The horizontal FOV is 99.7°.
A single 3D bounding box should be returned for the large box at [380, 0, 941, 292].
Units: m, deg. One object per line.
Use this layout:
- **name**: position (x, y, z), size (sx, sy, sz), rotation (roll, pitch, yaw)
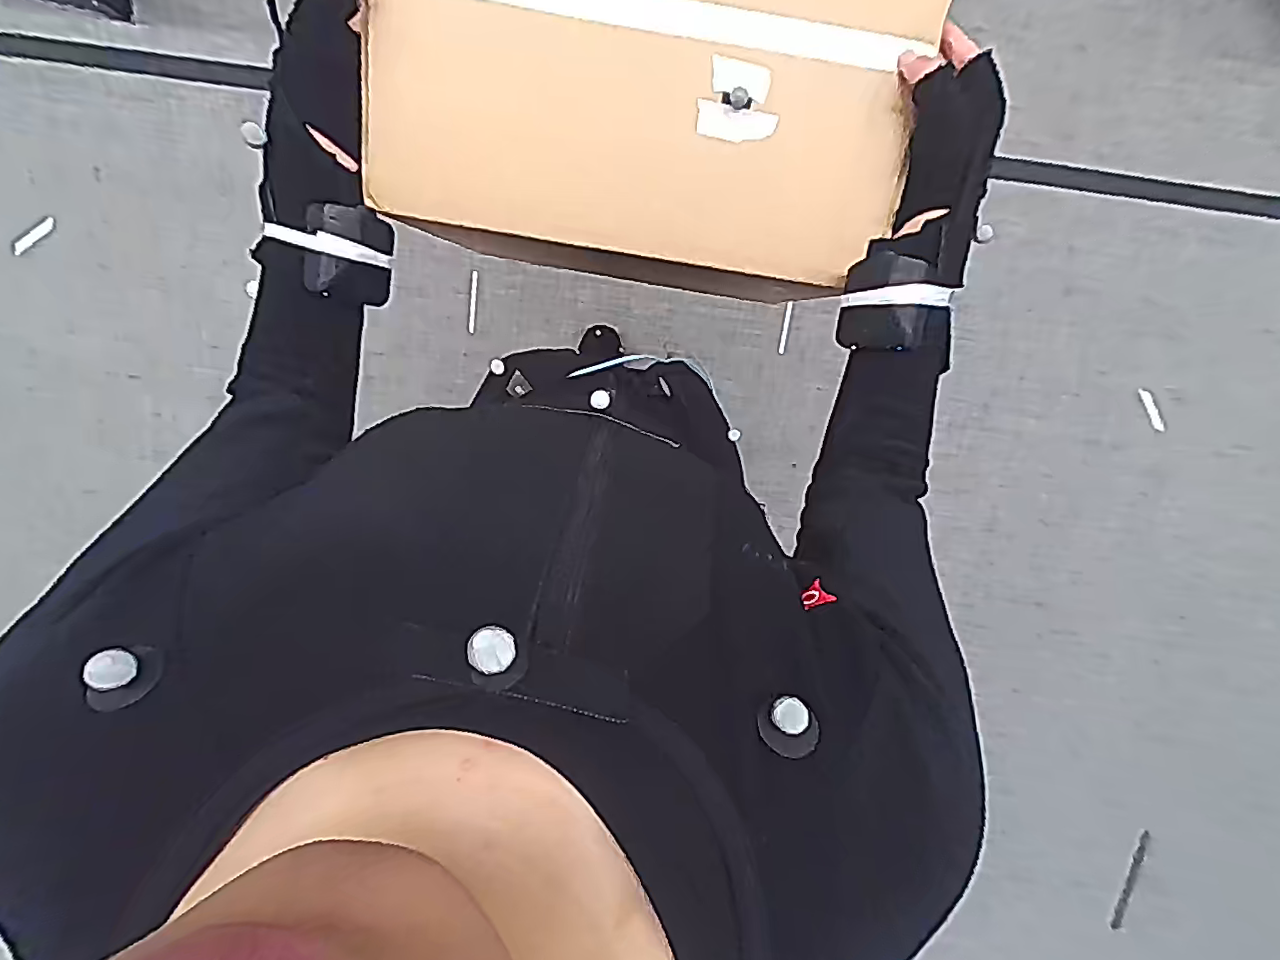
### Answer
- **large box**: position (0.010, -0.377, 0.531), size (0.408, 0.320, 0.320), rotation (8, 108, -4)
